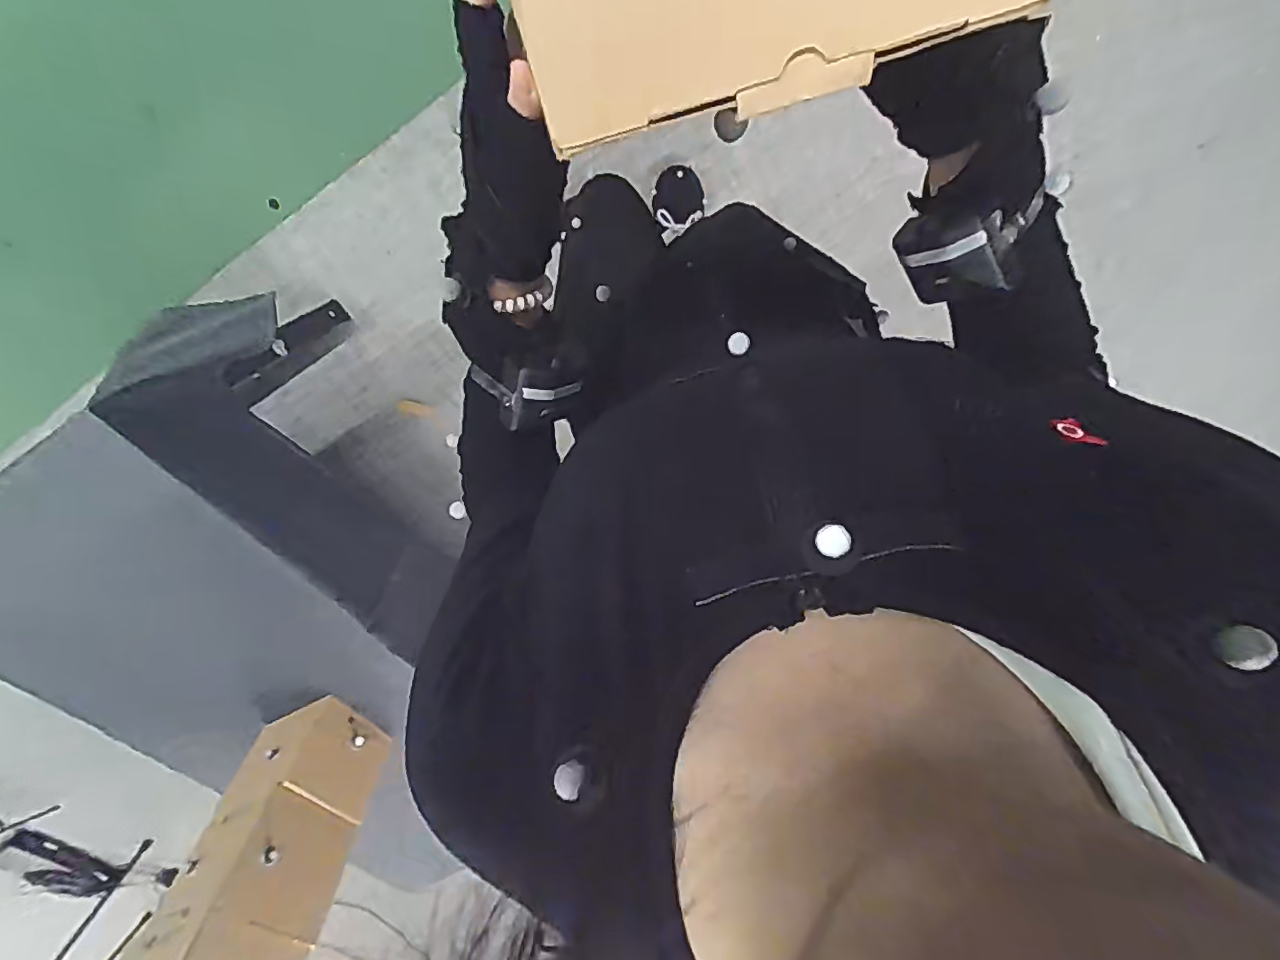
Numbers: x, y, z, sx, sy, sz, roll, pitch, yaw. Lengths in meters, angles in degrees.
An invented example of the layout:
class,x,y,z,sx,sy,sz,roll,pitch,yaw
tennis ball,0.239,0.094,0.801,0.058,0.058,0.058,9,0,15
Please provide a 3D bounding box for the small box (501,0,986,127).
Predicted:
class,x,y,z,sx,sy,sz,roll,pitch,yaw
small box,0.017,-0.247,0.188,0.168,0.176,0.179,-16,124,2

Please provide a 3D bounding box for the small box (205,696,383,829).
class,x,y,z,sx,sy,sz,roll,pitch,yaw
small box,-0.602,0.526,0.969,0.179,0.176,0.168,-28,118,12

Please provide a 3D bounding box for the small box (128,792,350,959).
class,x,y,z,sx,sy,sz,roll,pitch,yaw
small box,-0.597,0.612,0.831,0.168,0.176,0.179,-29,117,15
